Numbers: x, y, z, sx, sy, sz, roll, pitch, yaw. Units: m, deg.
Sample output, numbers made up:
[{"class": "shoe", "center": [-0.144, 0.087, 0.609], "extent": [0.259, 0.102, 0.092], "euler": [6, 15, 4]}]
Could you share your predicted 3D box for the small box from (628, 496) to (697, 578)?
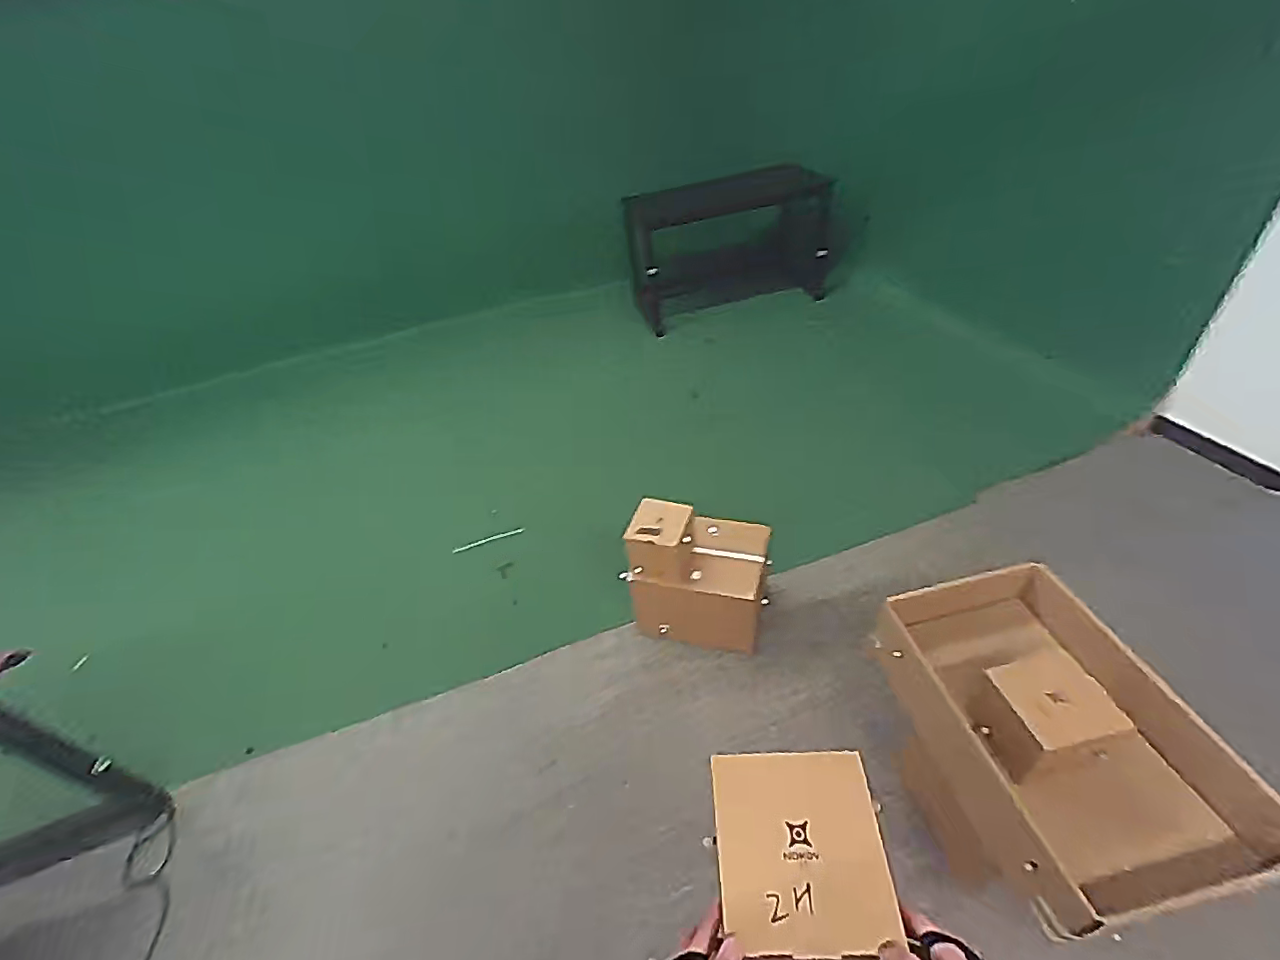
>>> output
[{"class": "small box", "center": [0.078, 0.180, 1.684], "extent": [0.168, 0.176, 0.179], "euler": [10, 44, 20]}]

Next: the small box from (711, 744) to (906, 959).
[{"class": "small box", "center": [0.166, 0.416, 0.603], "extent": [0.168, 0.176, 0.179], "euler": [-5, 46, 5]}]
